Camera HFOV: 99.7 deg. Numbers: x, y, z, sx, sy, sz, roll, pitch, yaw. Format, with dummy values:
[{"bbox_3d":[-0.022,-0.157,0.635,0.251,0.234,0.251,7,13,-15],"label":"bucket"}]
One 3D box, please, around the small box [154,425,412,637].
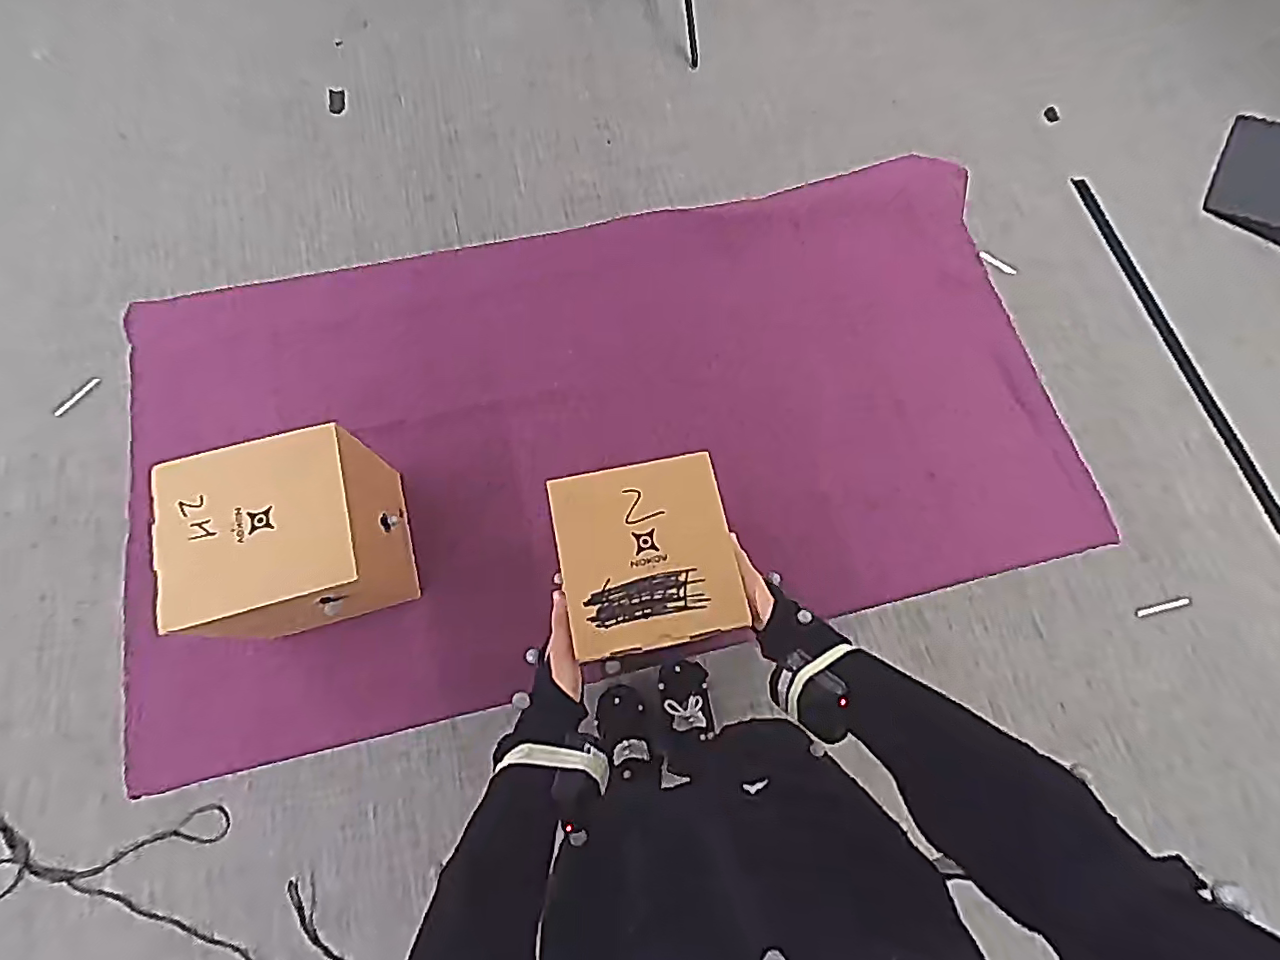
[{"bbox_3d":[-0.363,0.064,0.582,0.179,0.176,0.168,-15,73,-7],"label":"small box"}]
